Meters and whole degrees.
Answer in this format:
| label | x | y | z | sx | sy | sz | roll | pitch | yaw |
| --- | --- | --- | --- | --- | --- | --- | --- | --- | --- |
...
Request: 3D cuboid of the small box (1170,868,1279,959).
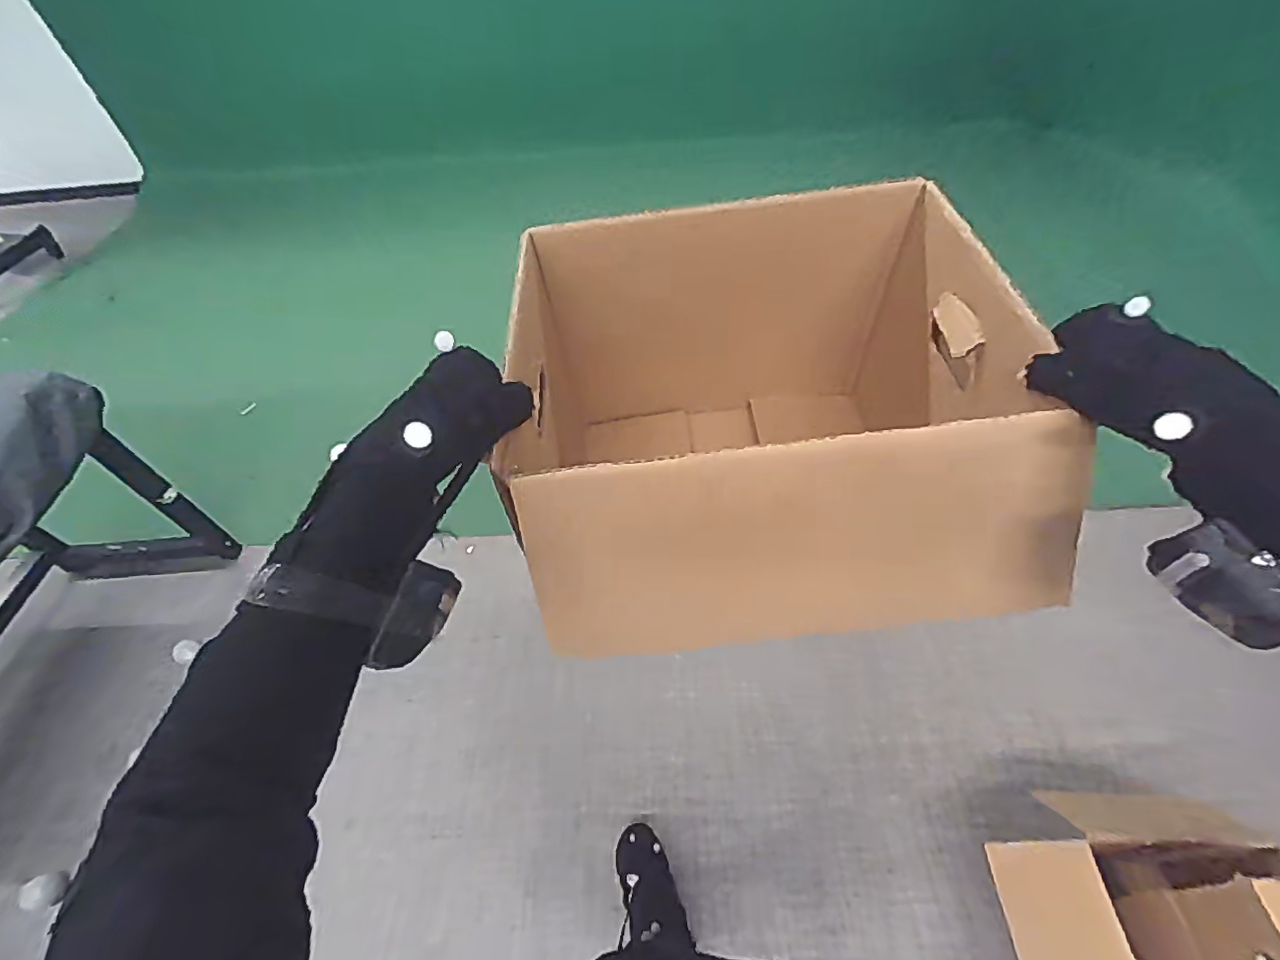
| label | x | y | z | sx | sy | sz | roll | pitch | yaw |
| --- | --- | --- | --- | --- | --- | --- | --- | --- | --- |
| small box | 0.887 | 0.640 | 0.722 | 0.168 | 0.176 | 0.179 | -1 | 48 | 5 |
